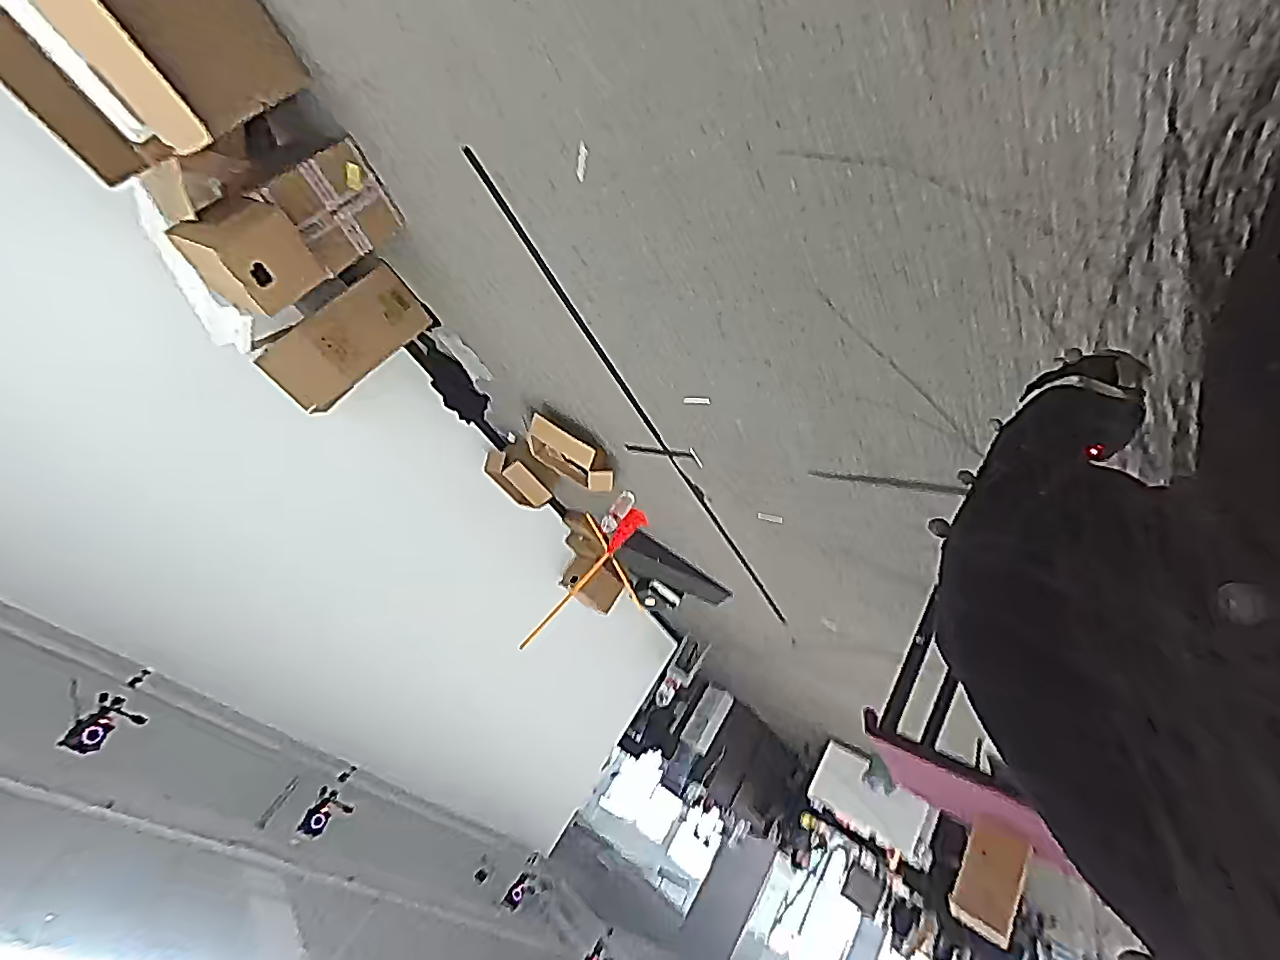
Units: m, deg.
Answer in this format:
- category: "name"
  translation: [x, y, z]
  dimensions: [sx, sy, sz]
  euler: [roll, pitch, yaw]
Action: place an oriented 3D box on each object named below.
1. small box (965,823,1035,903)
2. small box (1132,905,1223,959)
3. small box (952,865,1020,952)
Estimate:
- category: "small box"
  translation: [1.325, 1.399, 1.989]
  dimensions: [0.179, 0.176, 0.168]
  euler: [13, 146, 44]
- category: "small box"
  translation: [1.628, 1.442, 1.640]
  dimensions: [0.168, 0.176, 0.179]
  euler: [13, 145, 42]
- category: "small box"
  translation: [1.234, 1.519, 1.924]
  dimensions: [0.179, 0.176, 0.168]
  euler: [13, 146, 42]
